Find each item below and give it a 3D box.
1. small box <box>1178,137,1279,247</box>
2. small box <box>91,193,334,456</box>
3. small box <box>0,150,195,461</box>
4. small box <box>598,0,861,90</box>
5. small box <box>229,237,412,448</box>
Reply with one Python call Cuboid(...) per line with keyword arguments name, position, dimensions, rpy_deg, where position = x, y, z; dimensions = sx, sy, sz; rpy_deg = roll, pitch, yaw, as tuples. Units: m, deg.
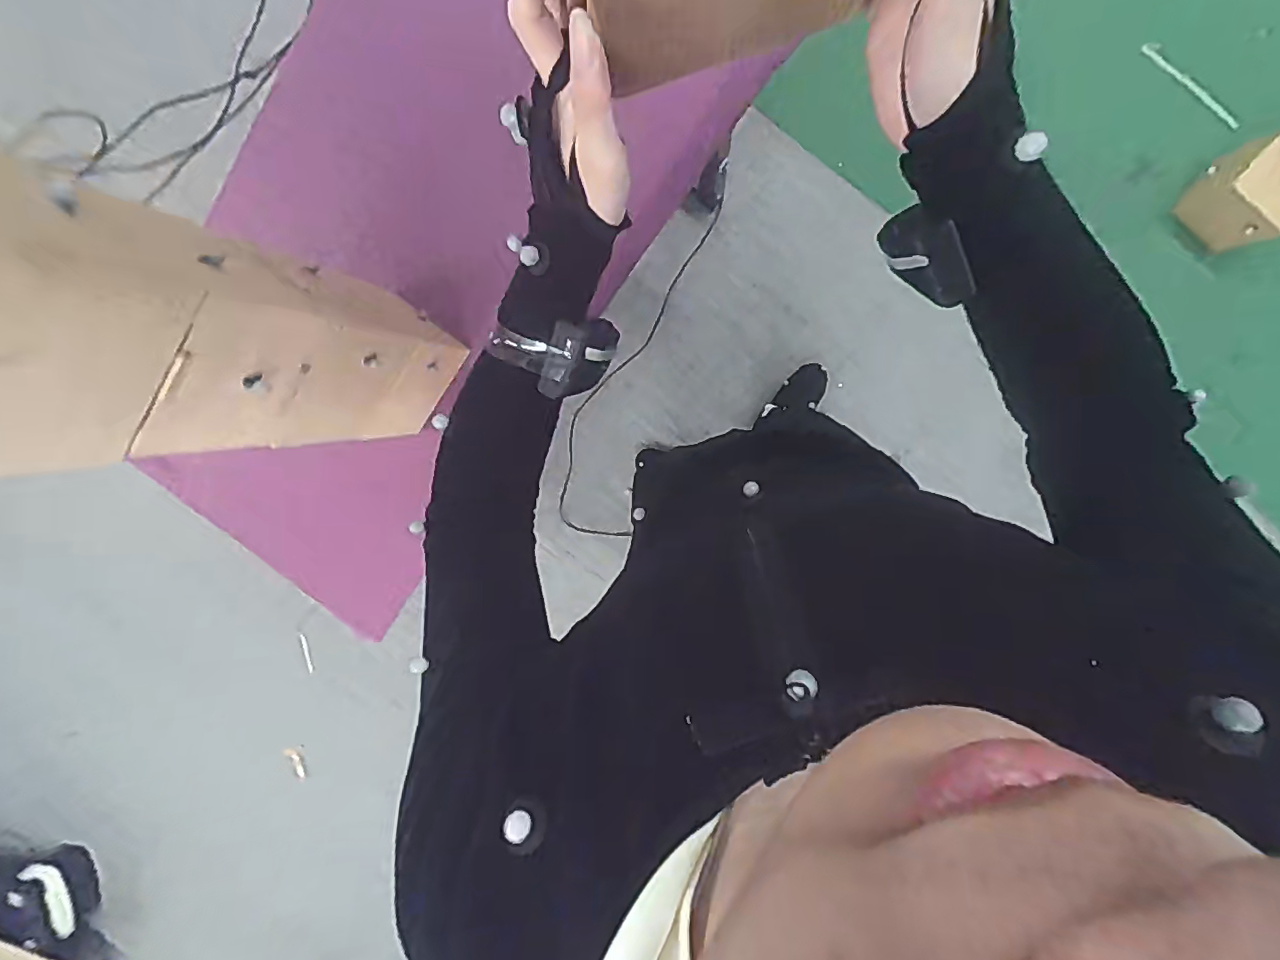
Cuboid(name="small box", position=(1.482, -0.685, 1.295), dimensions=(0.179, 0.176, 0.168), rpy_deg=(40, 100, -2))
Cuboid(name="small box", position=(-0.446, -0.145, 0.524), dimensions=(0.179, 0.176, 0.168), rpy_deg=(35, 100, 0))
Cuboid(name="small box", position=(-0.460, -0.122, 0.361), dimensions=(0.168, 0.176, 0.179), rpy_deg=(35, 99, 1))
Cuboid(name="small box", position=(0.047, -0.347, 0.278), dimensions=(0.179, 0.176, 0.168), rpy_deg=(-13, 103, 8))
Cuboid(name="small box", position=(-0.422, -0.163, 0.684), dimensions=(0.168, 0.176, 0.179), rpy_deg=(37, 100, 1))
